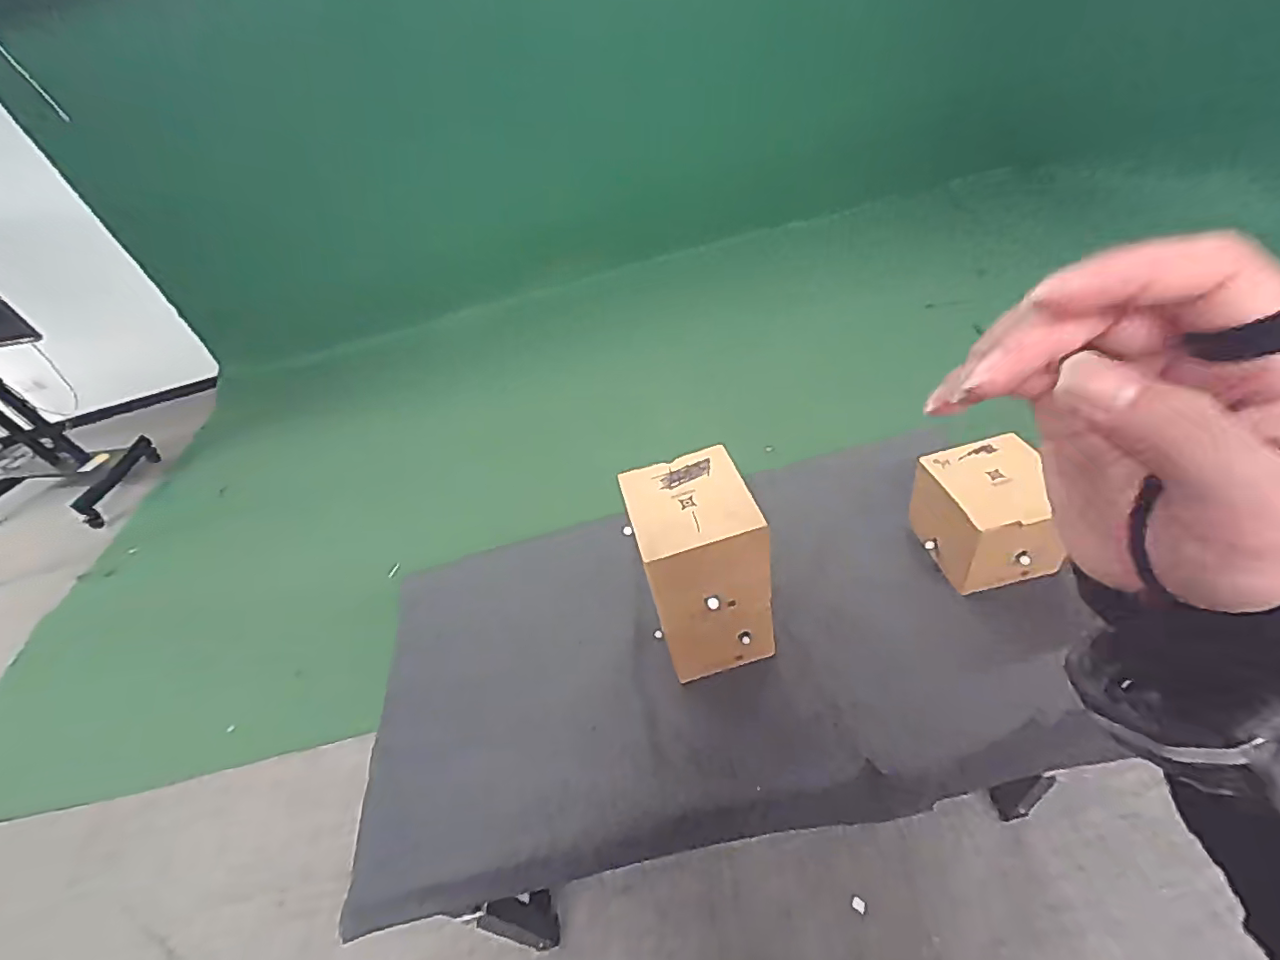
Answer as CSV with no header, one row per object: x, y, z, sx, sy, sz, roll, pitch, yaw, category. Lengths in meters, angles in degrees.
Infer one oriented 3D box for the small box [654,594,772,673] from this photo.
0.110,0.194,0.889,0.168,0.176,0.179,-16,41,-2,small box

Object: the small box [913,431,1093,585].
0.576,0.053,0.888,0.168,0.176,0.179,-15,42,2,small box

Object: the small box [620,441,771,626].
0.079,0.077,0.778,0.168,0.176,0.179,-17,43,-2,small box
